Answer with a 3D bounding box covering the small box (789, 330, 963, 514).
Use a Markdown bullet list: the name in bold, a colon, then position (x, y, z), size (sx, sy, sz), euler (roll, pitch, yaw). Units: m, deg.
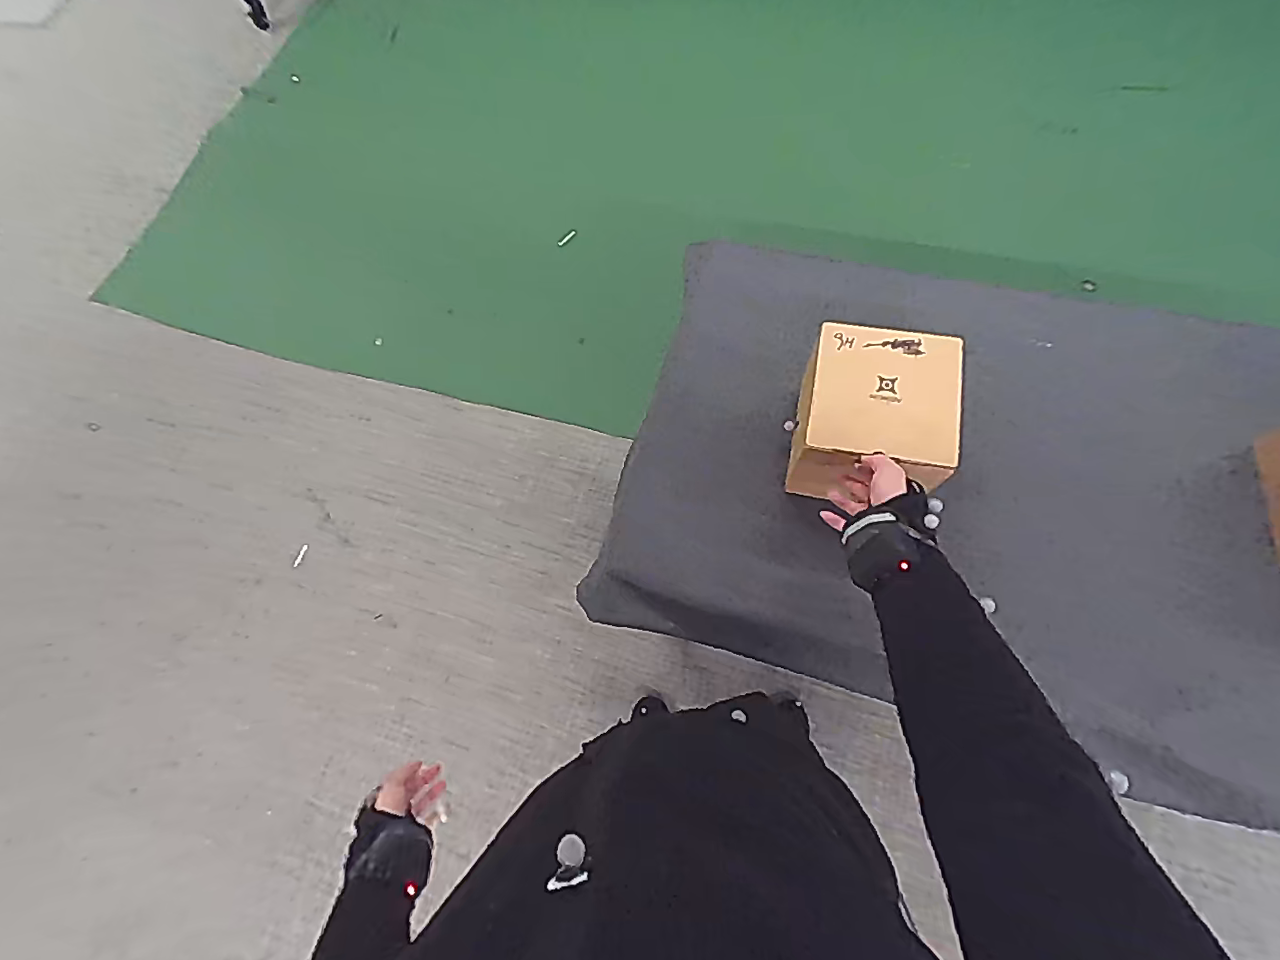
- **small box**: position (0.299, -0.067, 0.713), size (0.168, 0.176, 0.179), euler (11, 71, 10)
